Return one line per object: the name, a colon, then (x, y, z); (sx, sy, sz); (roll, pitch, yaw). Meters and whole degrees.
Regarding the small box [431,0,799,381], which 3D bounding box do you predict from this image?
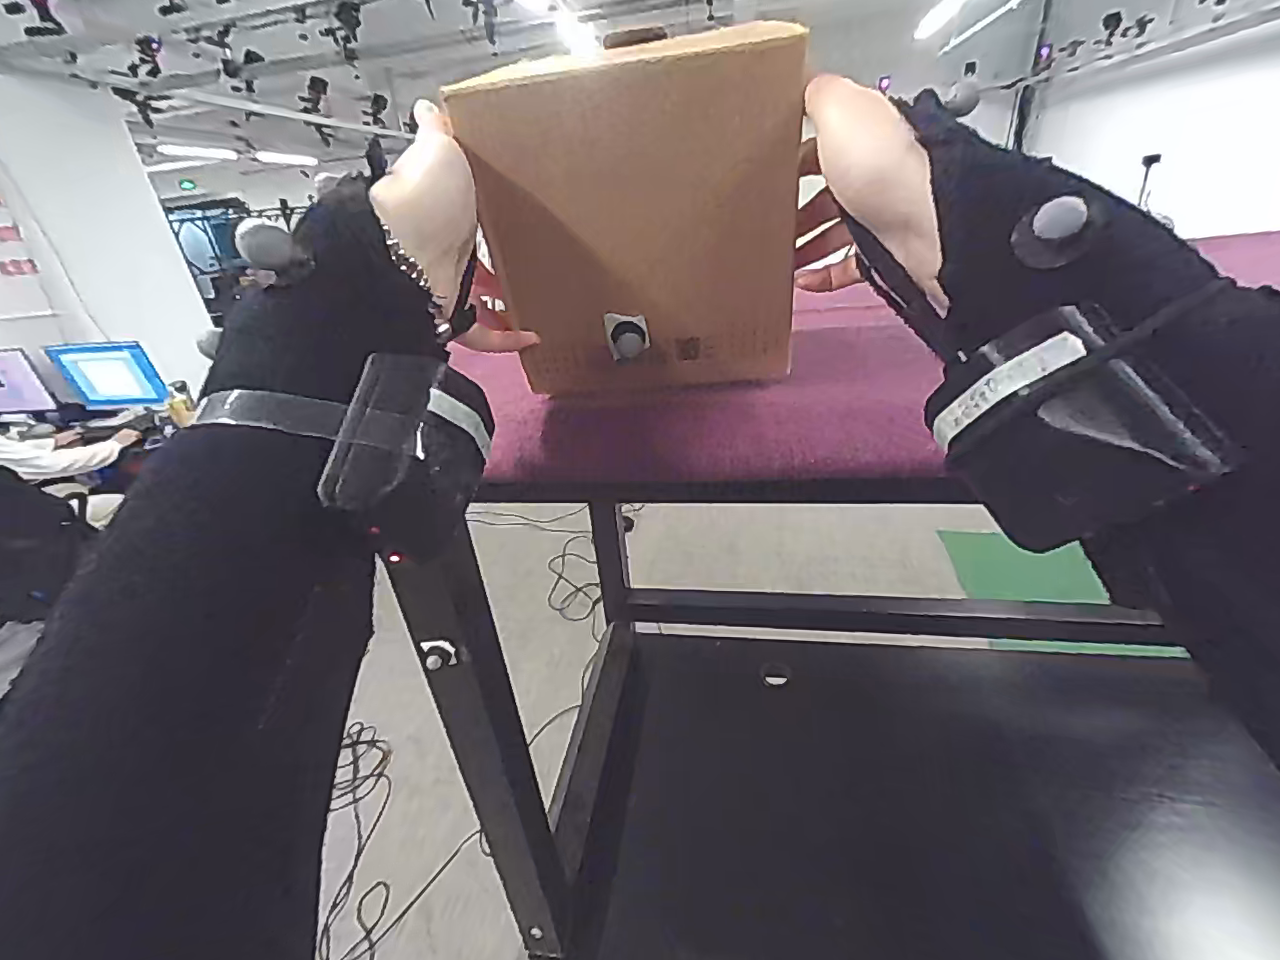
small box: (0.000, -0.182, 0.346); (0.168, 0.176, 0.179); (-4, 41, 7)
